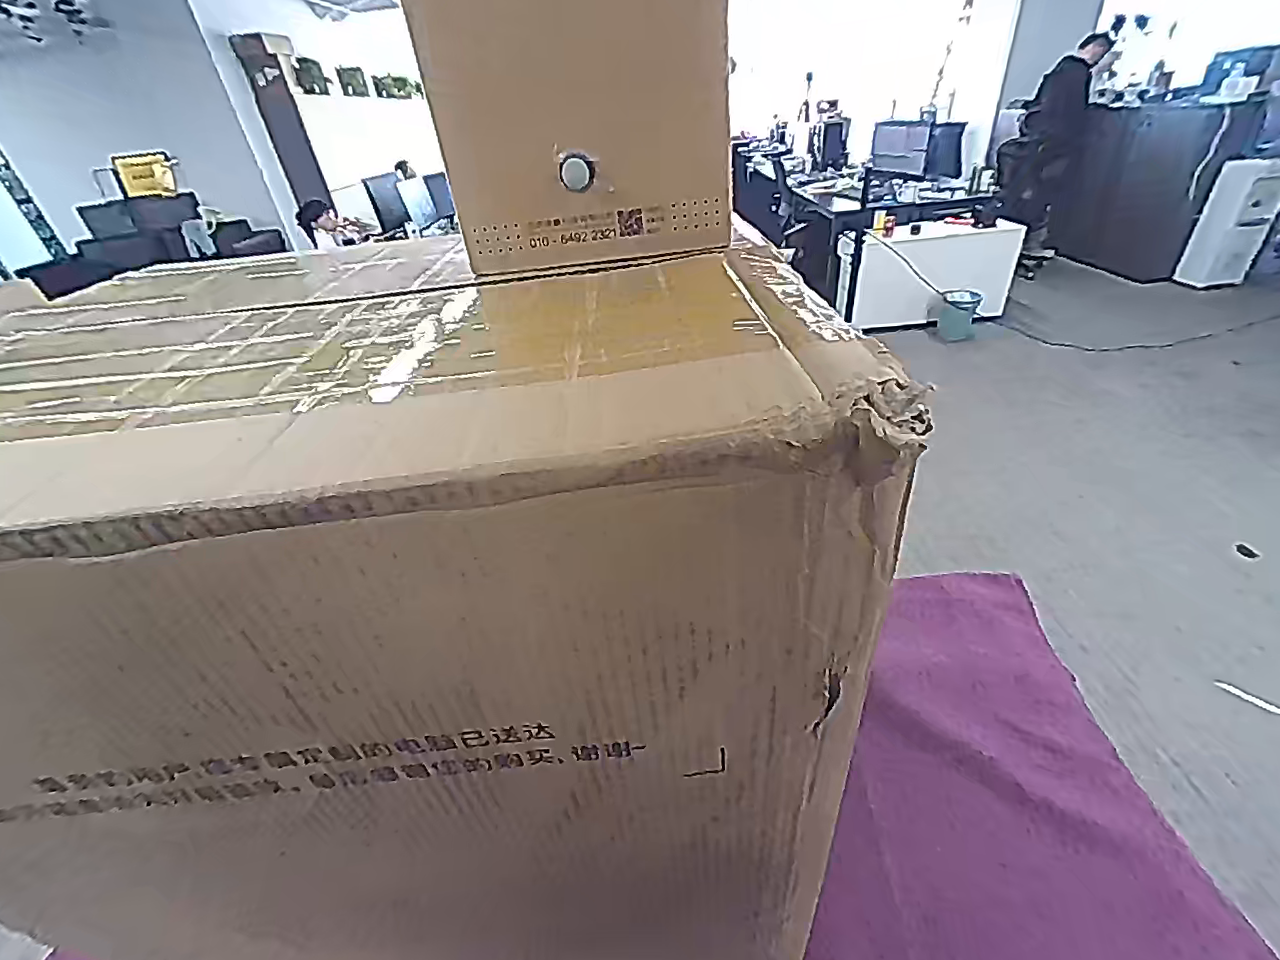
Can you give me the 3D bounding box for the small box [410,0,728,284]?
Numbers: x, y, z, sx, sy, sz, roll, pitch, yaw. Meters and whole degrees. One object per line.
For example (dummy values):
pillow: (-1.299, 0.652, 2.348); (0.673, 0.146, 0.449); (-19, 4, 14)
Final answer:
small box: (-0.033, -0.243, 0.370); (0.168, 0.176, 0.179); (-6, 34, 3)
